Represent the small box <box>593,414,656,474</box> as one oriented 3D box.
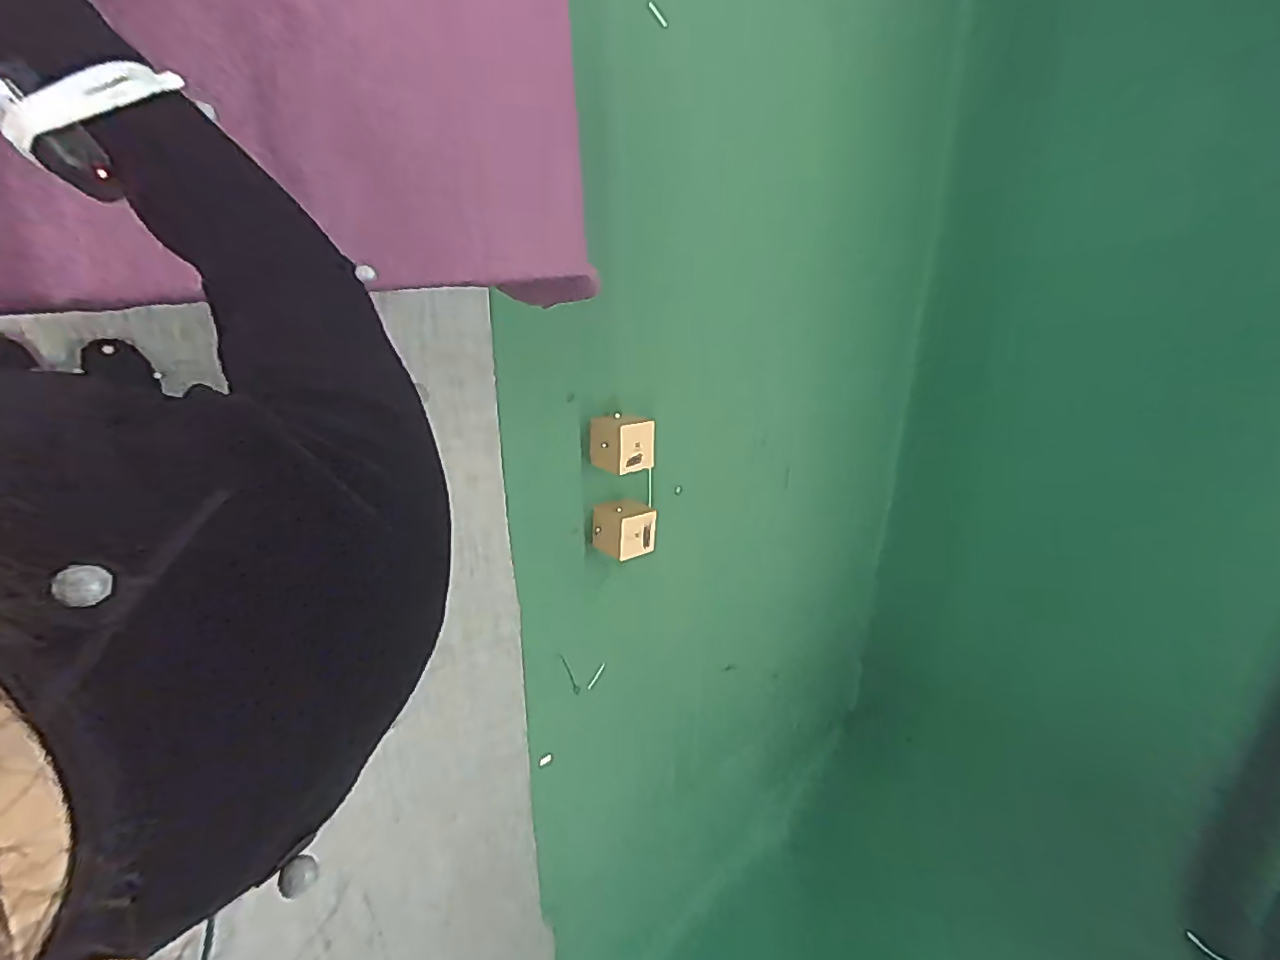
[{"bbox_3d":[-0.059,-0.134,1.948,0.168,0.176,0.179,-14,112,-41],"label":"small box"}]
